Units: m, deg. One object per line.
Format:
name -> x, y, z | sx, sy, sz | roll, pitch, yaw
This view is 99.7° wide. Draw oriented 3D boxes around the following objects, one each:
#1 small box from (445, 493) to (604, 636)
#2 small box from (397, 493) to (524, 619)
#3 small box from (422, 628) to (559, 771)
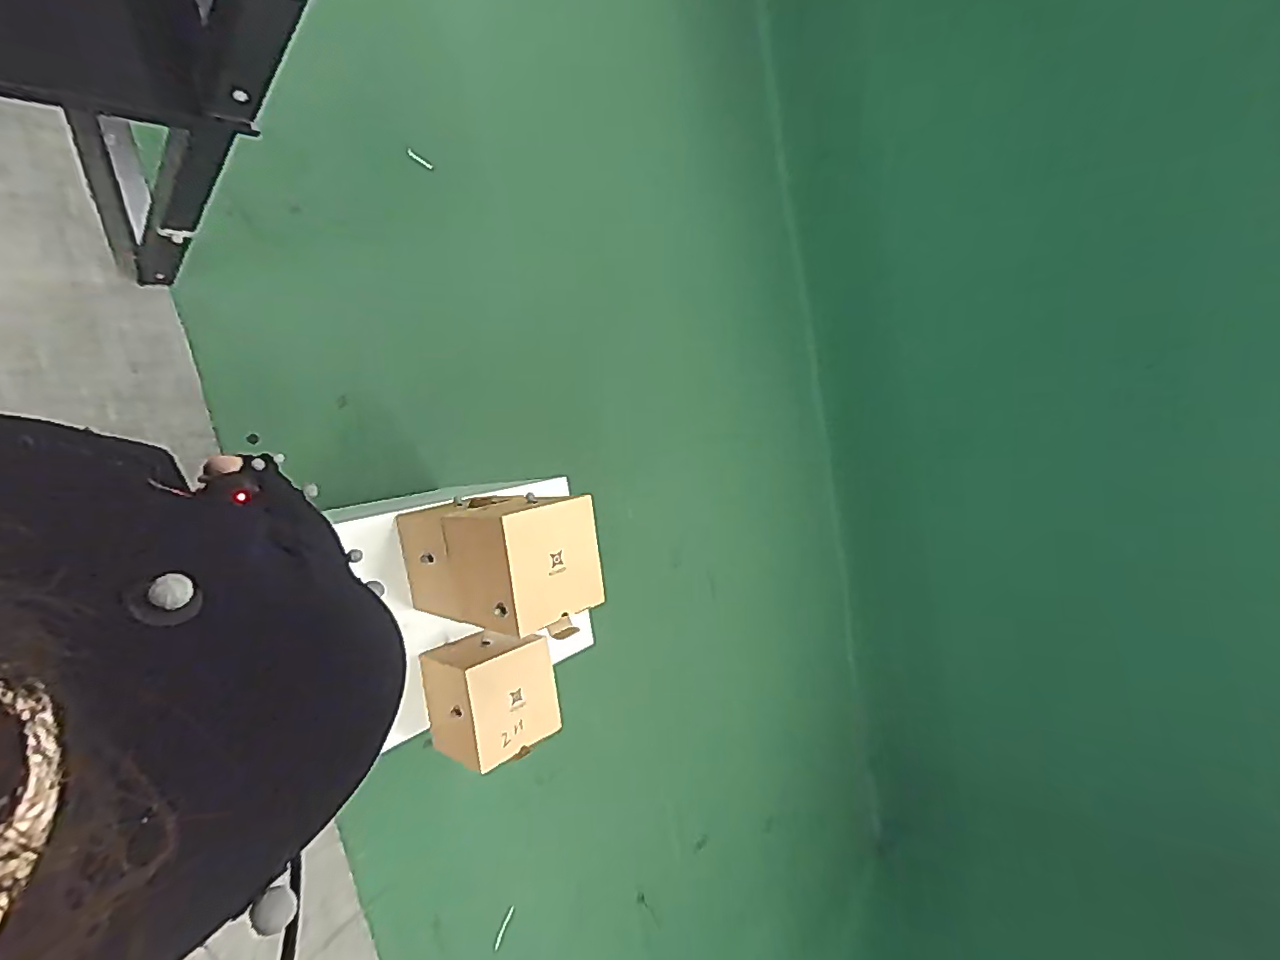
small box -> -0.181, 0.119, 0.837 | 0.168, 0.176, 0.179 | -14, 100, -47
small box -> -0.302, 0.125, 0.947 | 0.168, 0.176, 0.179 | -16, 99, -46
small box -> -0.269, 0.372, 0.963 | 0.168, 0.176, 0.179 | -10, 95, -46
